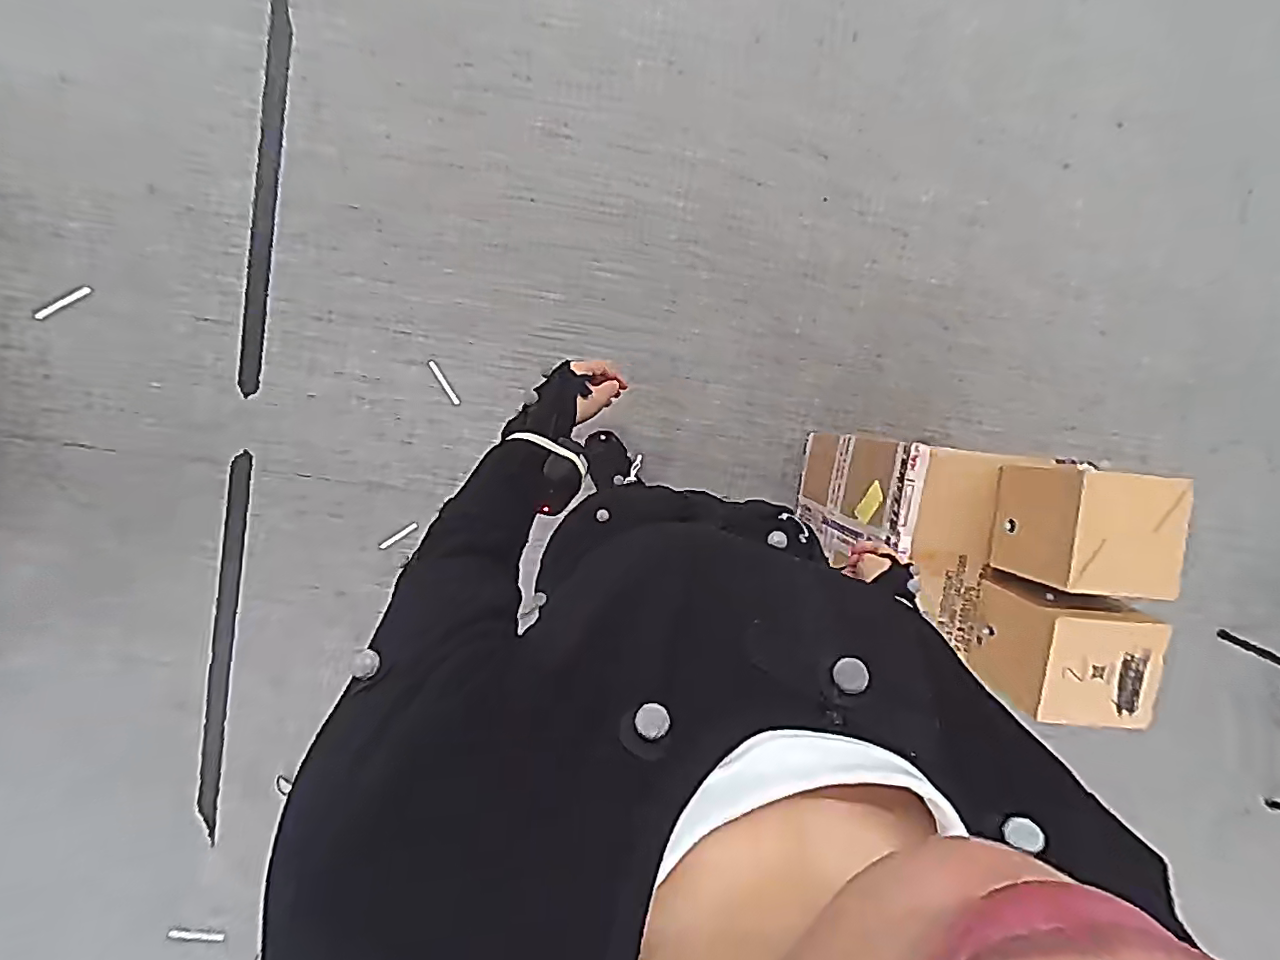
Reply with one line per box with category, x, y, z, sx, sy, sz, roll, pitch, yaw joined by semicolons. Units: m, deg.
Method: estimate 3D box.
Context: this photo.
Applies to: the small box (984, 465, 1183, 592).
small box;0.686;0.071;0.850;0.168;0.176;0.179;6;94;-3
